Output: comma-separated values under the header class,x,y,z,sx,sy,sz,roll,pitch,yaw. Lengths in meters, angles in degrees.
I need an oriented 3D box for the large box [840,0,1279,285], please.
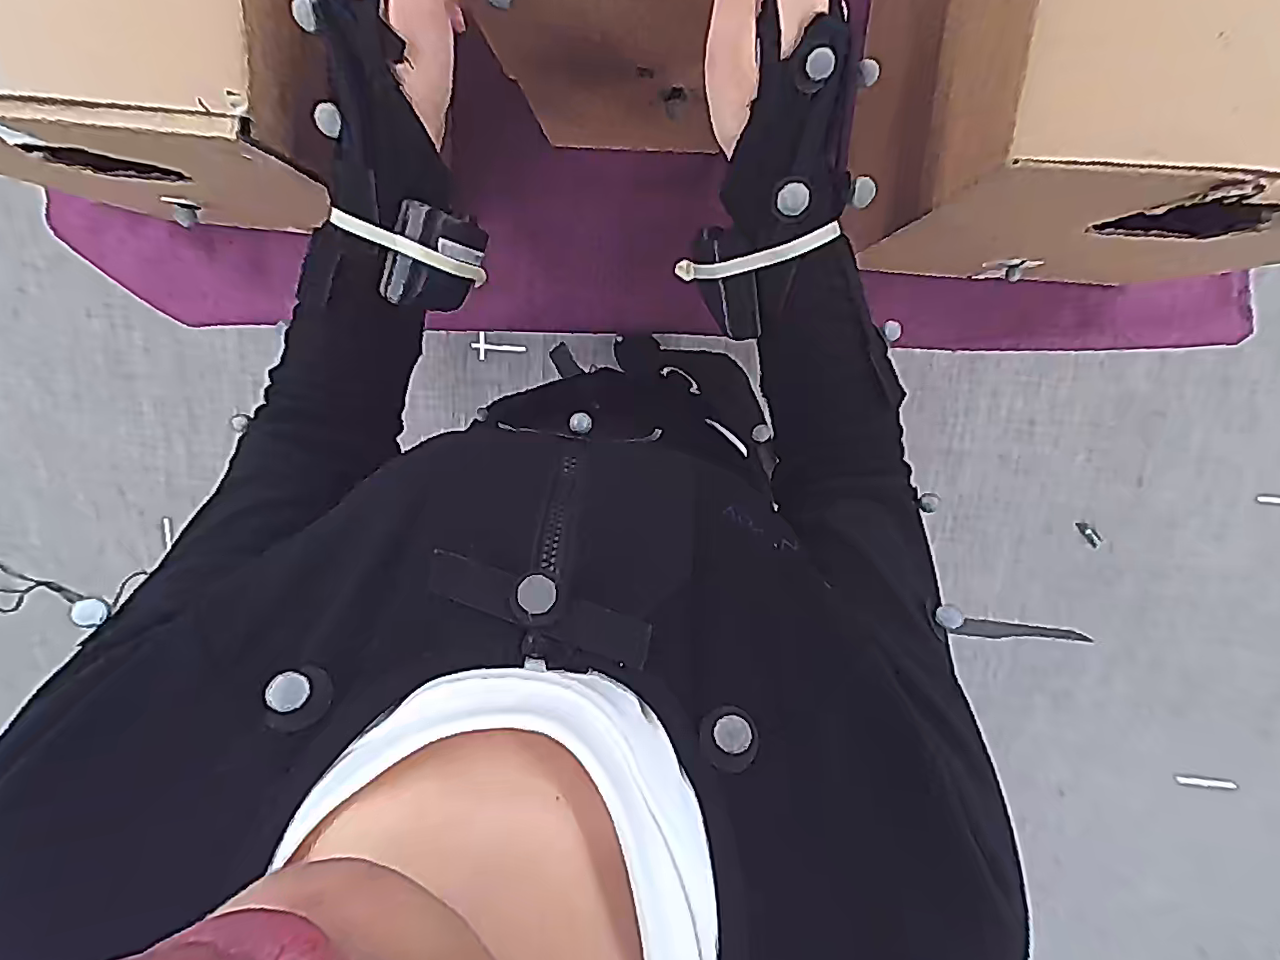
class,x,y,z,sx,sy,sz,roll,pitch,yaw
large box,0.356,-0.371,0.377,0.320,0.320,0.408,4,101,2
